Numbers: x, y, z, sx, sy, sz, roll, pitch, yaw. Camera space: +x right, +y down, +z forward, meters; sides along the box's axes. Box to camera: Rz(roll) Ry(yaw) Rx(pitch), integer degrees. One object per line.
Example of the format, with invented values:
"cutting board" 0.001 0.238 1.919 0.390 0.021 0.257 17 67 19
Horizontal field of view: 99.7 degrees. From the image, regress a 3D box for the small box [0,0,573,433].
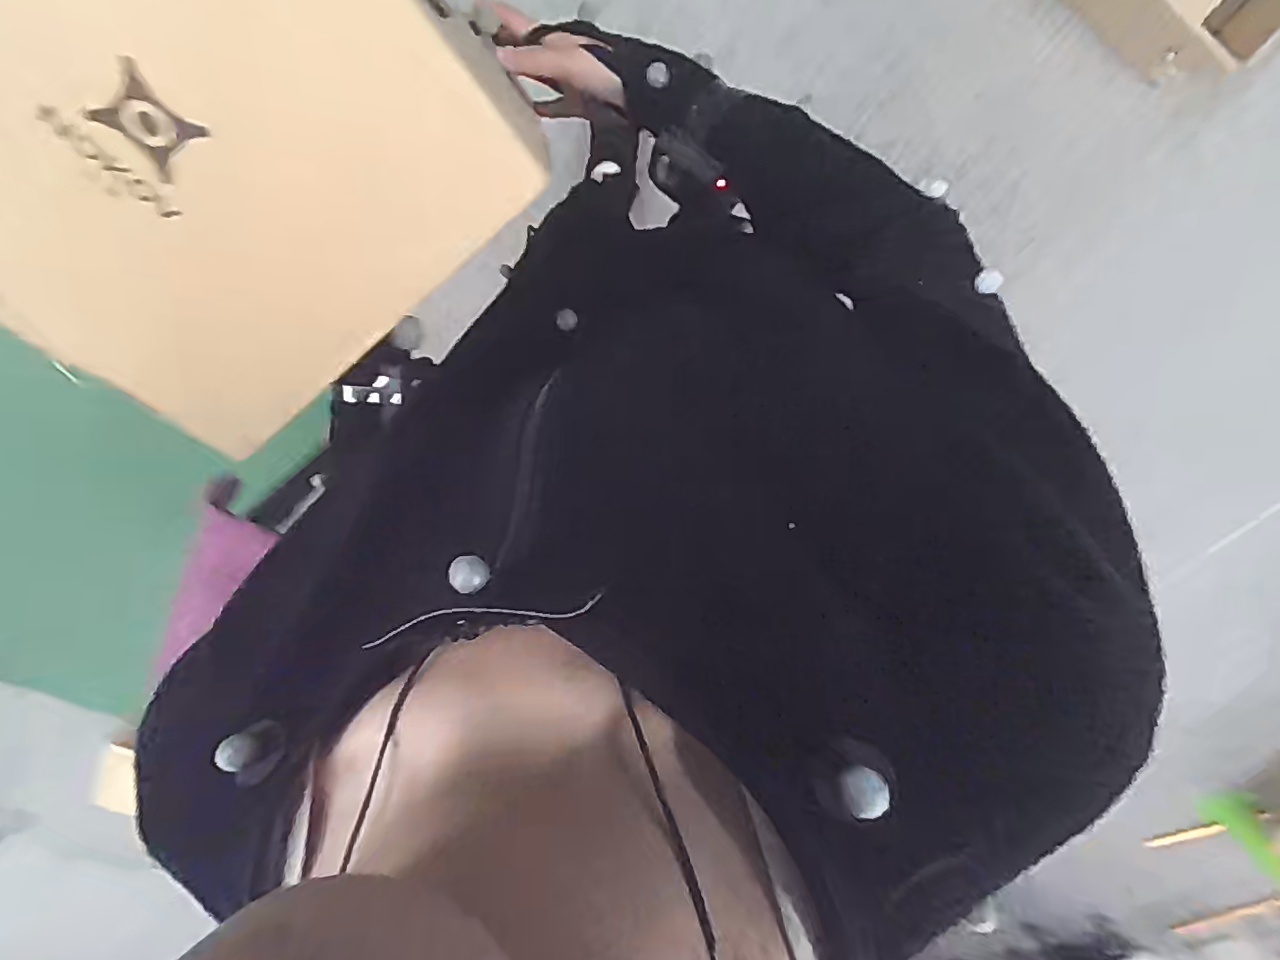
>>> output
"small box" -0.149 -0.160 0.222 0.179 0.176 0.168 -33 127 16
